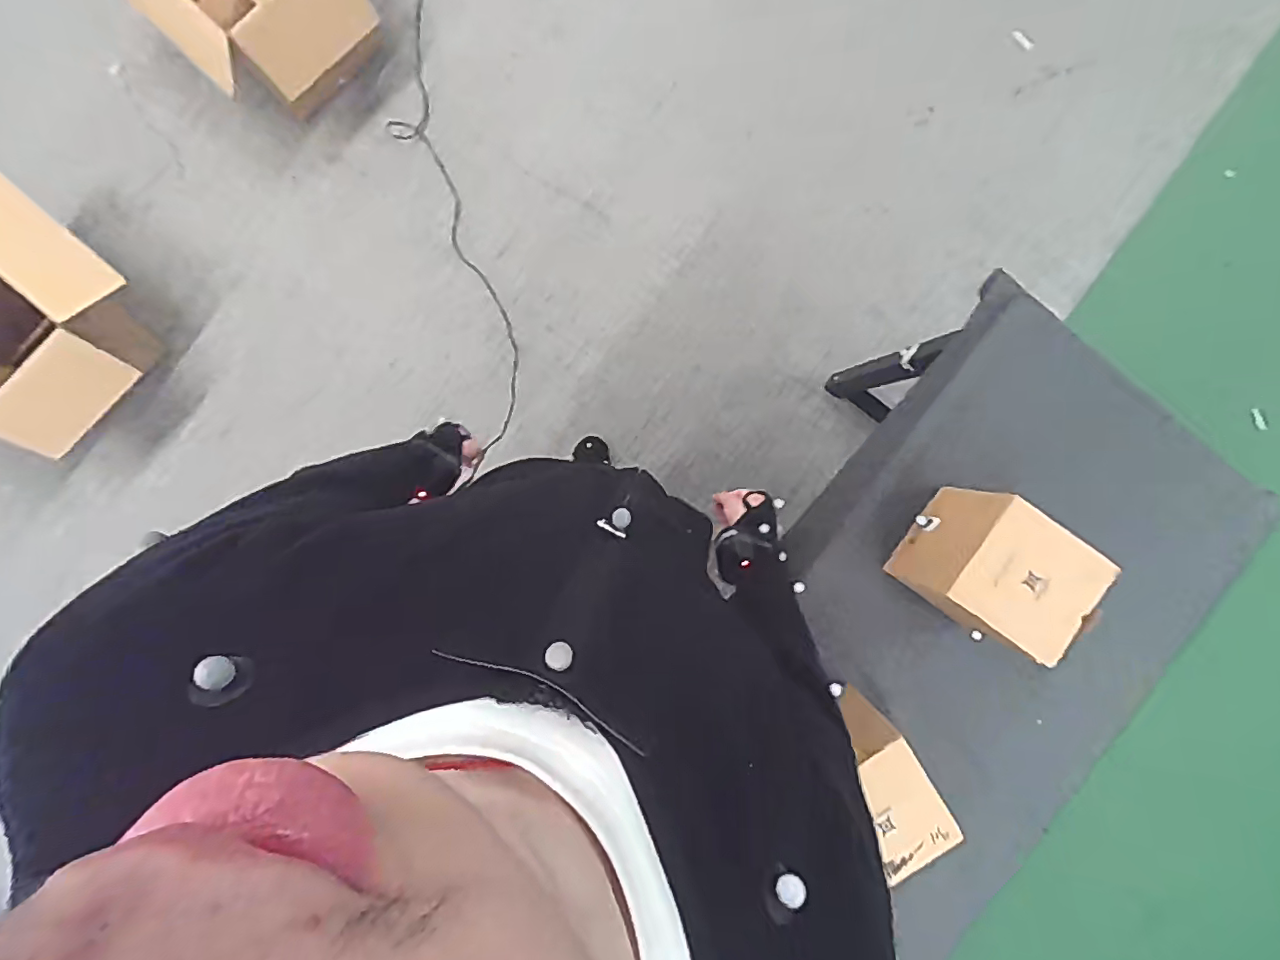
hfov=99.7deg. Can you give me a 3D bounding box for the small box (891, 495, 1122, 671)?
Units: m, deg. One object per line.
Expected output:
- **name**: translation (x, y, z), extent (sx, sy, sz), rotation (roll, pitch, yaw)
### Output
- **small box**: translation (0.510, 0.133, 0.779), extent (0.179, 0.176, 0.168), rotation (35, 90, -4)

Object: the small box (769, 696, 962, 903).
- **small box**: translation (0.316, 0.449, 0.799), extent (0.168, 0.176, 0.179), rotation (-31, 93, -1)
